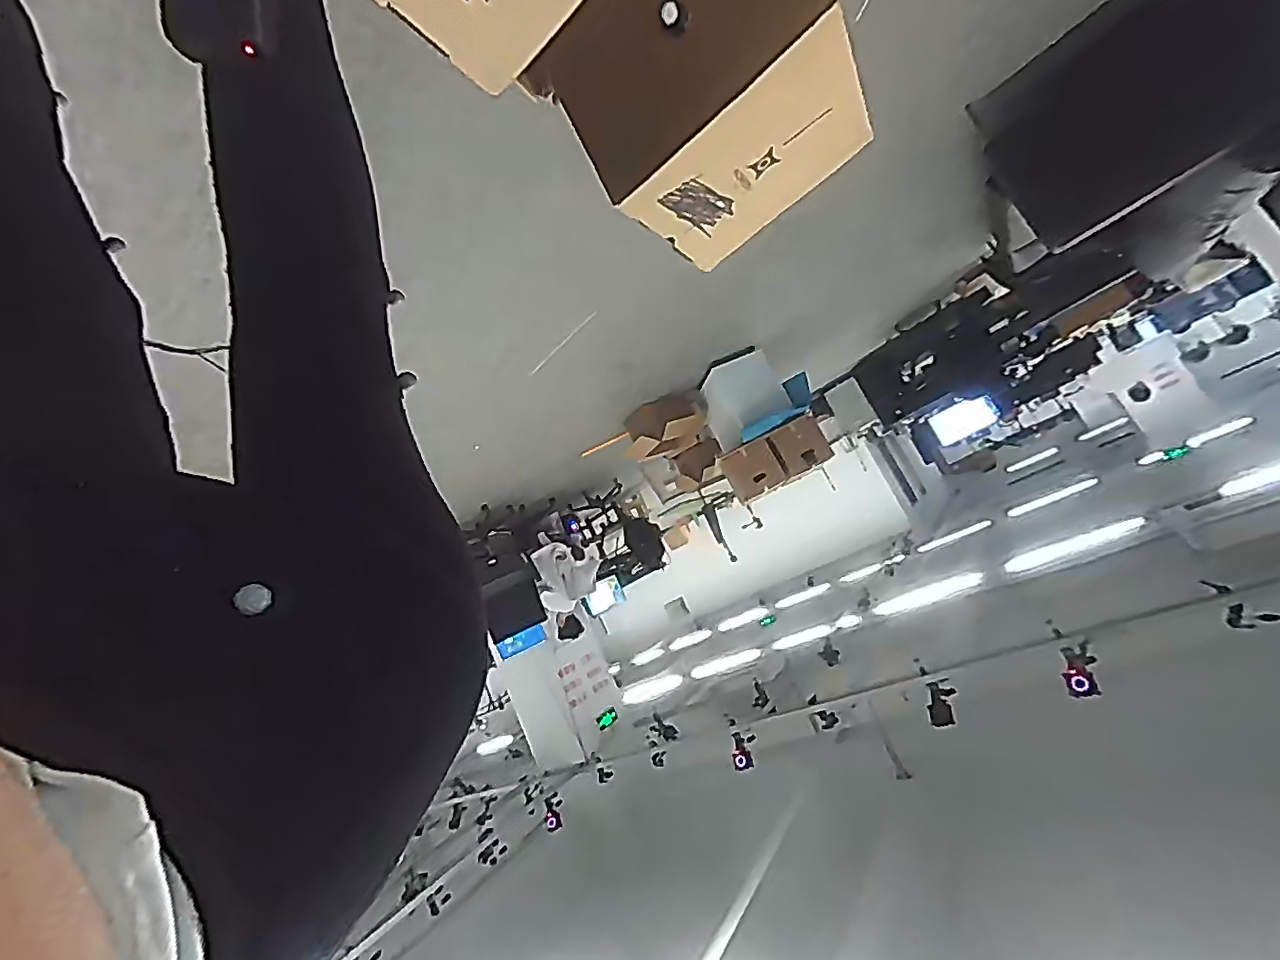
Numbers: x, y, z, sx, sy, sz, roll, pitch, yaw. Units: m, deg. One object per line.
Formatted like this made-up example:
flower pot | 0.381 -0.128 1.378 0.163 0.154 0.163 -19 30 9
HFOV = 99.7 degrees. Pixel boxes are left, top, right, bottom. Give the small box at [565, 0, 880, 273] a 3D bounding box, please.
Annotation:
small box | 0.061 -0.308 0.434 0.179 0.176 0.168 -31 168 27
